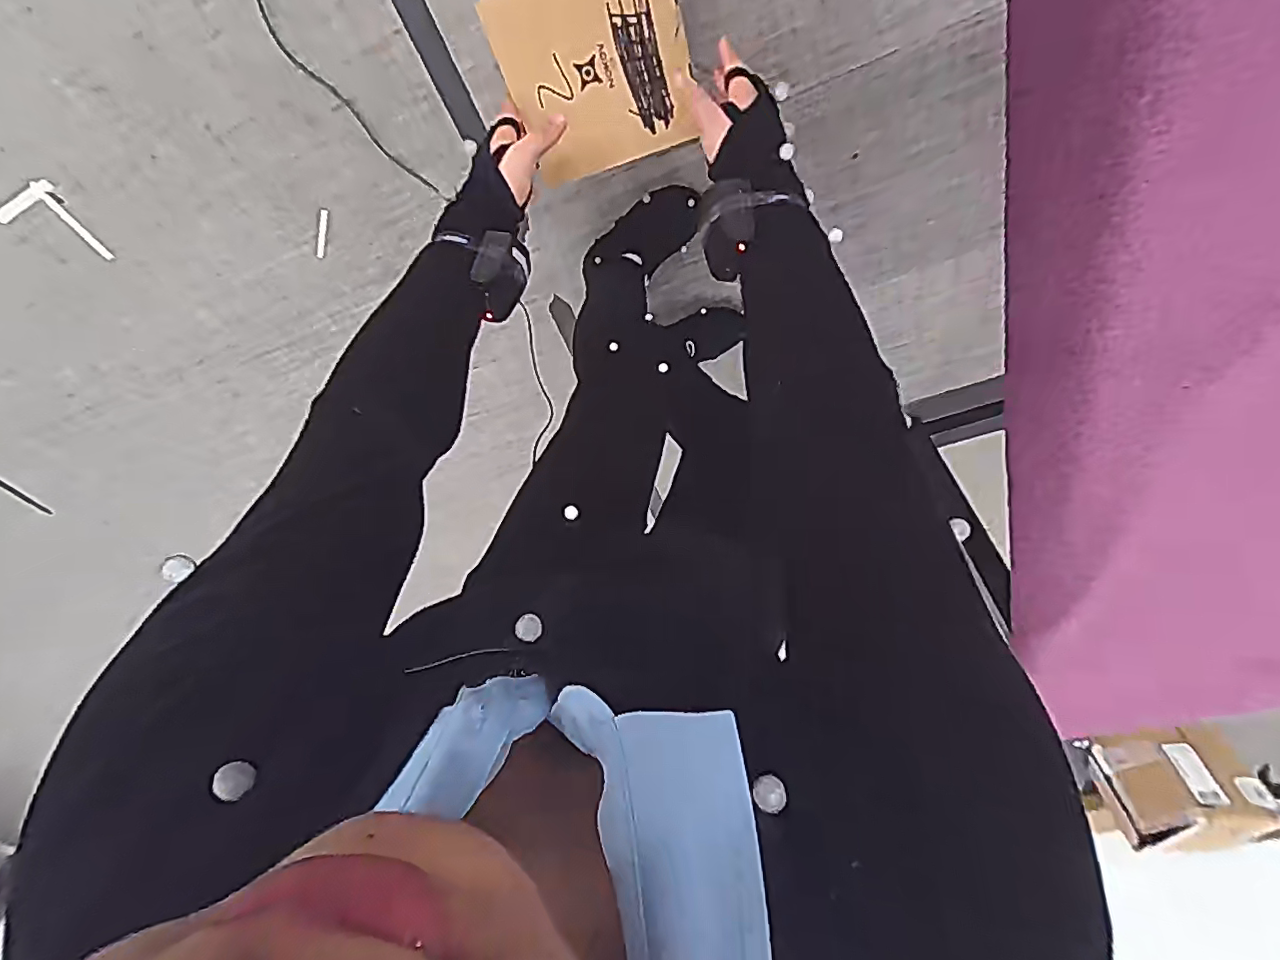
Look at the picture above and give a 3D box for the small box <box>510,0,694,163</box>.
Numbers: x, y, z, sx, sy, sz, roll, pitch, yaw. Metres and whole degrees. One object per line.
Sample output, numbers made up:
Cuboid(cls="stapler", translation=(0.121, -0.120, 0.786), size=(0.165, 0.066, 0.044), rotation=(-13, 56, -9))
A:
Cuboid(cls="small box", translation=(-0.040, -0.548, 0.698), size=(0.179, 0.176, 0.168), rotation=(-14, 130, 15))
